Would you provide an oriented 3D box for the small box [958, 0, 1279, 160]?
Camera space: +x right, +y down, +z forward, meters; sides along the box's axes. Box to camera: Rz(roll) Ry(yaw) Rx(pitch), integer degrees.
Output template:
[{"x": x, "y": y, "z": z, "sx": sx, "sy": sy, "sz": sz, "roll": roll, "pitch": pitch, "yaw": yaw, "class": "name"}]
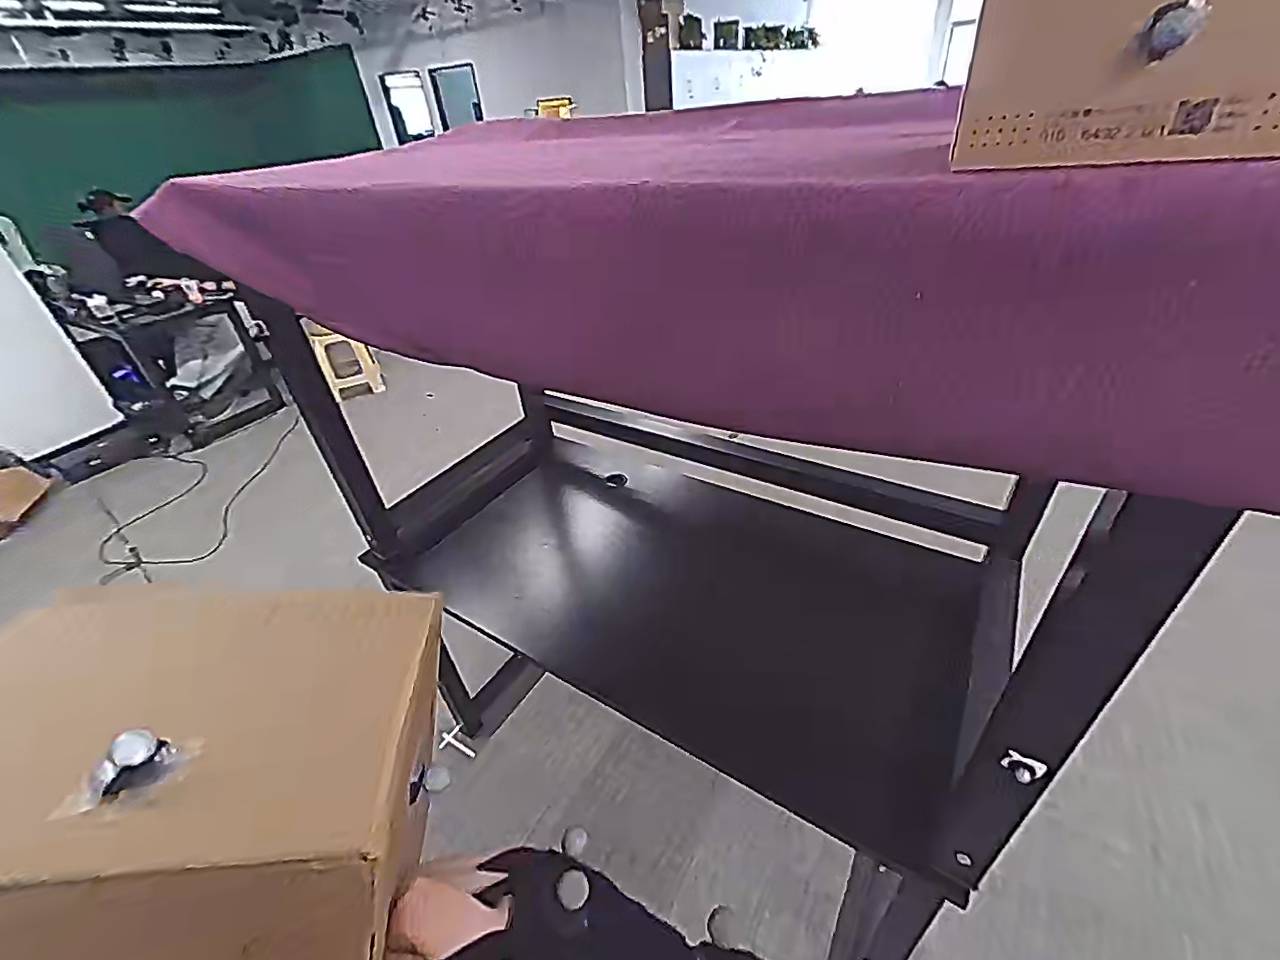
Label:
[{"x": 0.290, "y": -0.283, "z": 0.302, "sx": 0.168, "sy": 0.176, "sz": 0.179, "roll": 11, "pitch": 38, "yaw": 24, "class": "small box"}]
